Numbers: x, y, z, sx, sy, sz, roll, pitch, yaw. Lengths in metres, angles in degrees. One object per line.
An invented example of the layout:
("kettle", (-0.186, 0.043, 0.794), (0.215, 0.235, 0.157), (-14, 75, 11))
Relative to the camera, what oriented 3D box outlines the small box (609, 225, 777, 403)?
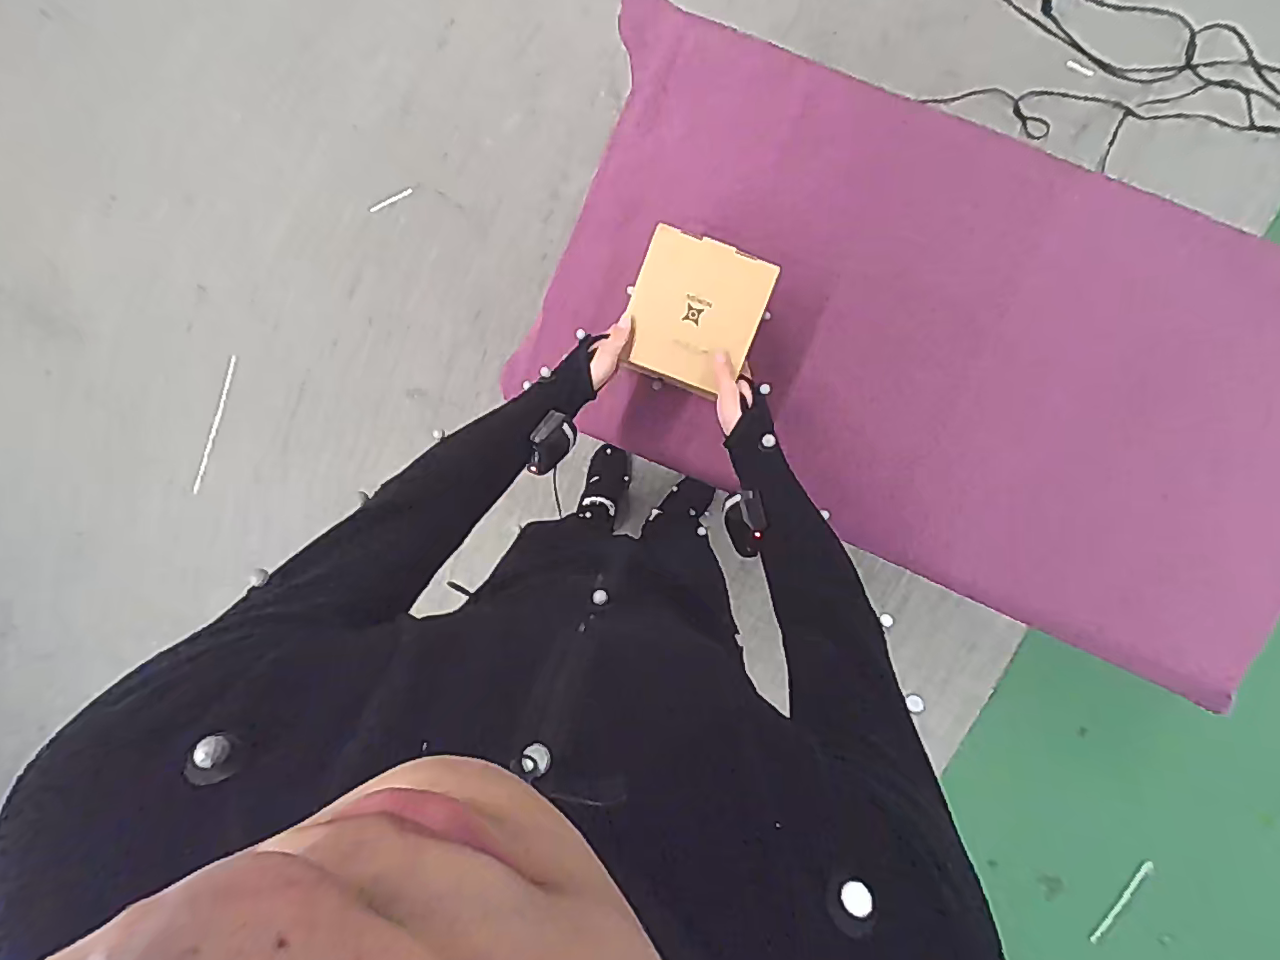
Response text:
("small box", (0.069, -0.218, 0.758), (0.168, 0.176, 0.179), (21, 97, 2))
